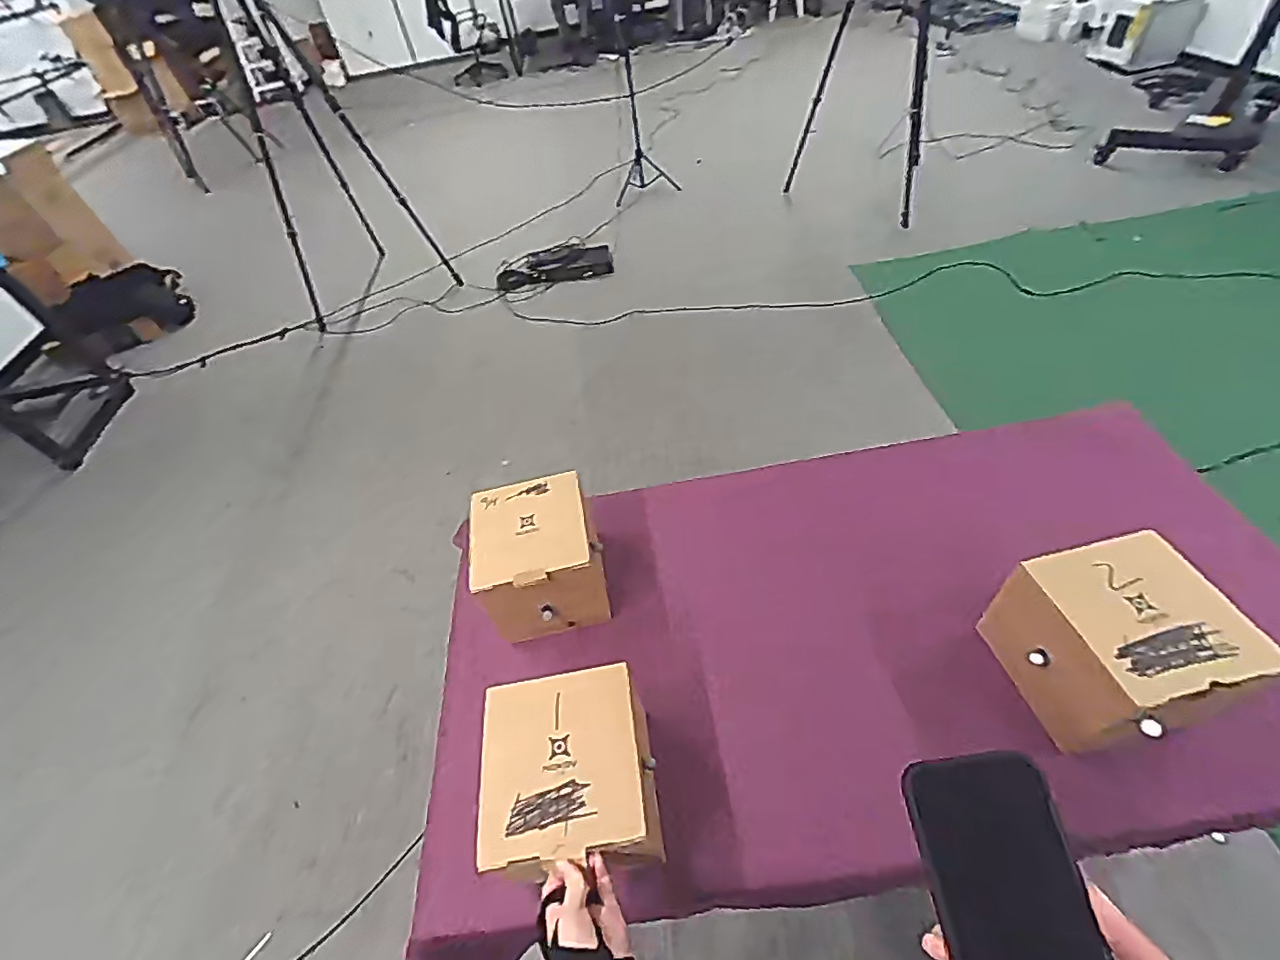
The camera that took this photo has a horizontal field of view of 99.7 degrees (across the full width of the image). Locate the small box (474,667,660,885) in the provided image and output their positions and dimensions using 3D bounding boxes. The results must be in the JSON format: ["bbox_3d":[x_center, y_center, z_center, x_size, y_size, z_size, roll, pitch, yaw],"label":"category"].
[{"bbox_3d":[-0.076,0.344,0.621,0.168,0.176,0.179,-11,46,1],"label":"small box"}]

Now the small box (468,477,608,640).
[{"bbox_3d":[-0.151,0.128,0.826,0.168,0.176,0.179,-13,49,-2],"label":"small box"}]
